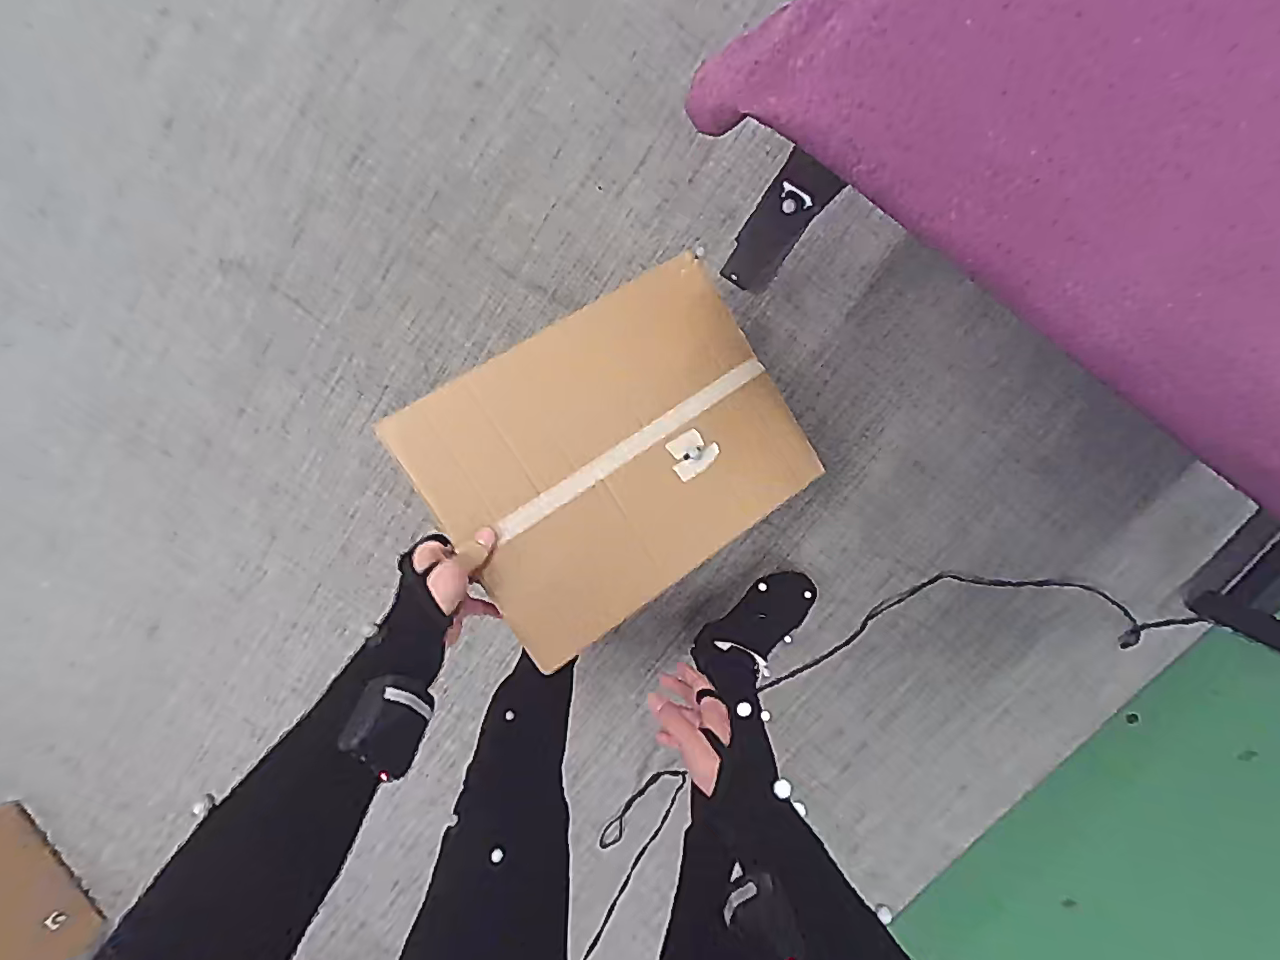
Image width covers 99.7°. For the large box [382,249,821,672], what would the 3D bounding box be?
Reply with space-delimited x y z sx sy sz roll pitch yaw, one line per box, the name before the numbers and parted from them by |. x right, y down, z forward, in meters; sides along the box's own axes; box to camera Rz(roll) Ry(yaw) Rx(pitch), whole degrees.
large box | -0.056 -0.023 0.735 0.408 0.320 0.320 -35 96 -14
